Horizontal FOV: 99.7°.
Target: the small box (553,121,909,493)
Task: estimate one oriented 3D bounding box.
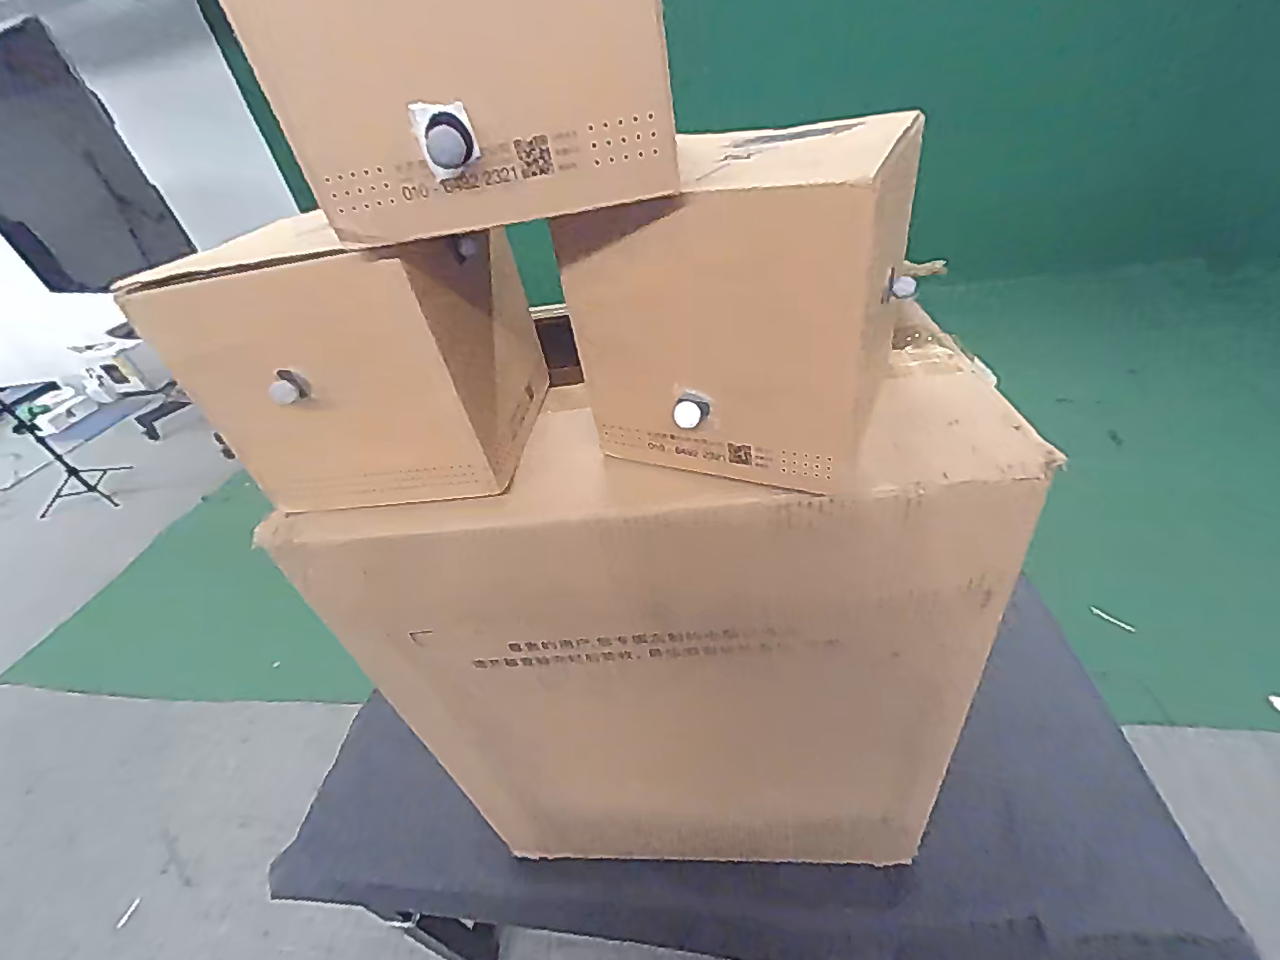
[{"bbox_3d":[0.067,-0.119,0.360,0.168,0.176,0.179,11,44,27],"label":"small box"}]

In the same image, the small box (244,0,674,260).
[{"bbox_3d":[-0.076,-0.230,0.276,0.168,0.176,0.179,-8,39,7],"label":"small box"}]

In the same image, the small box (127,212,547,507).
[{"bbox_3d":[-0.189,-0.095,0.402,0.179,0.176,0.168,-6,39,10],"label":"small box"}]
